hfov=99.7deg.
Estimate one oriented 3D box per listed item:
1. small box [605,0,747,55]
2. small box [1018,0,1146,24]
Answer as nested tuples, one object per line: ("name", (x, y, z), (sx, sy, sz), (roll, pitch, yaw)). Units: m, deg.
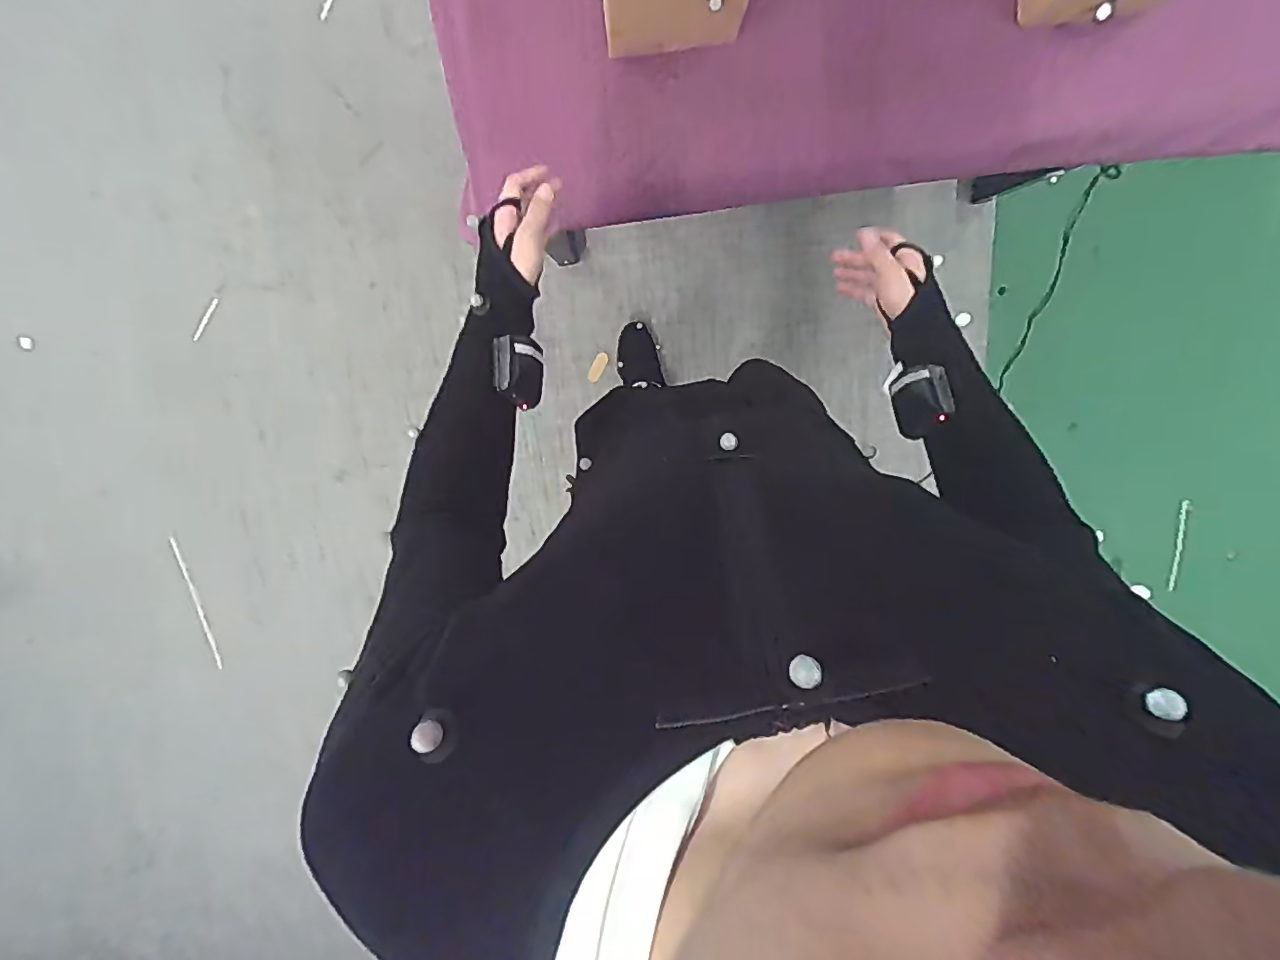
("small box", (0.039, -0.650, 0.648), (0.179, 0.176, 0.168), (-6, 105, 1))
("small box", (0.593, -0.687, 0.637), (0.179, 0.176, 0.168), (-8, 104, 2))
